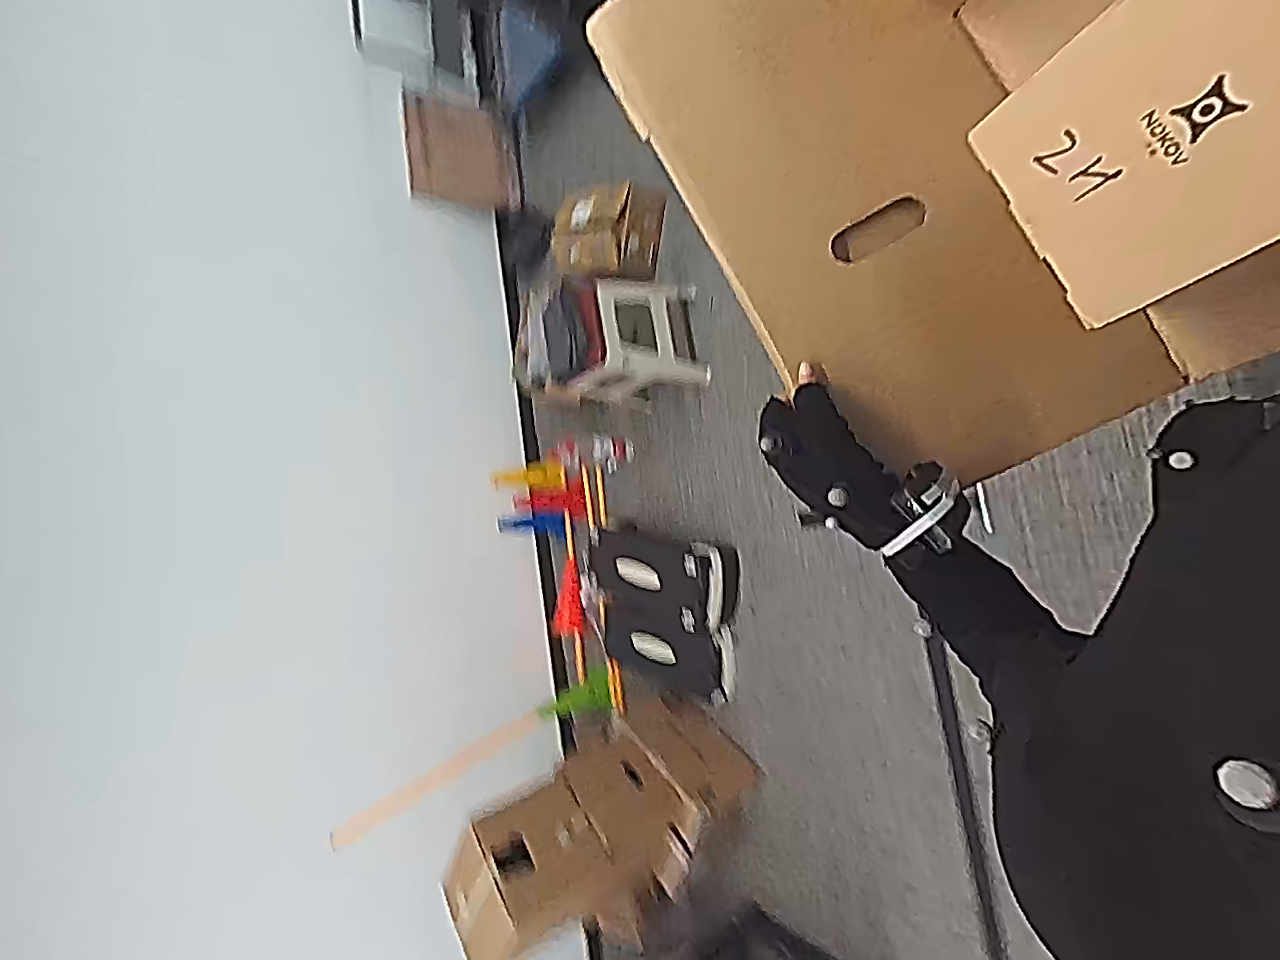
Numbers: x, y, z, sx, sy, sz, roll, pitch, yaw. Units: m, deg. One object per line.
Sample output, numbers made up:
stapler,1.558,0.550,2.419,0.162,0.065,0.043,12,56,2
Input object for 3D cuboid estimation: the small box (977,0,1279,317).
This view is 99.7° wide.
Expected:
small box,0.375,-0.235,0.354,0.179,0.176,0.168,-34,79,55
